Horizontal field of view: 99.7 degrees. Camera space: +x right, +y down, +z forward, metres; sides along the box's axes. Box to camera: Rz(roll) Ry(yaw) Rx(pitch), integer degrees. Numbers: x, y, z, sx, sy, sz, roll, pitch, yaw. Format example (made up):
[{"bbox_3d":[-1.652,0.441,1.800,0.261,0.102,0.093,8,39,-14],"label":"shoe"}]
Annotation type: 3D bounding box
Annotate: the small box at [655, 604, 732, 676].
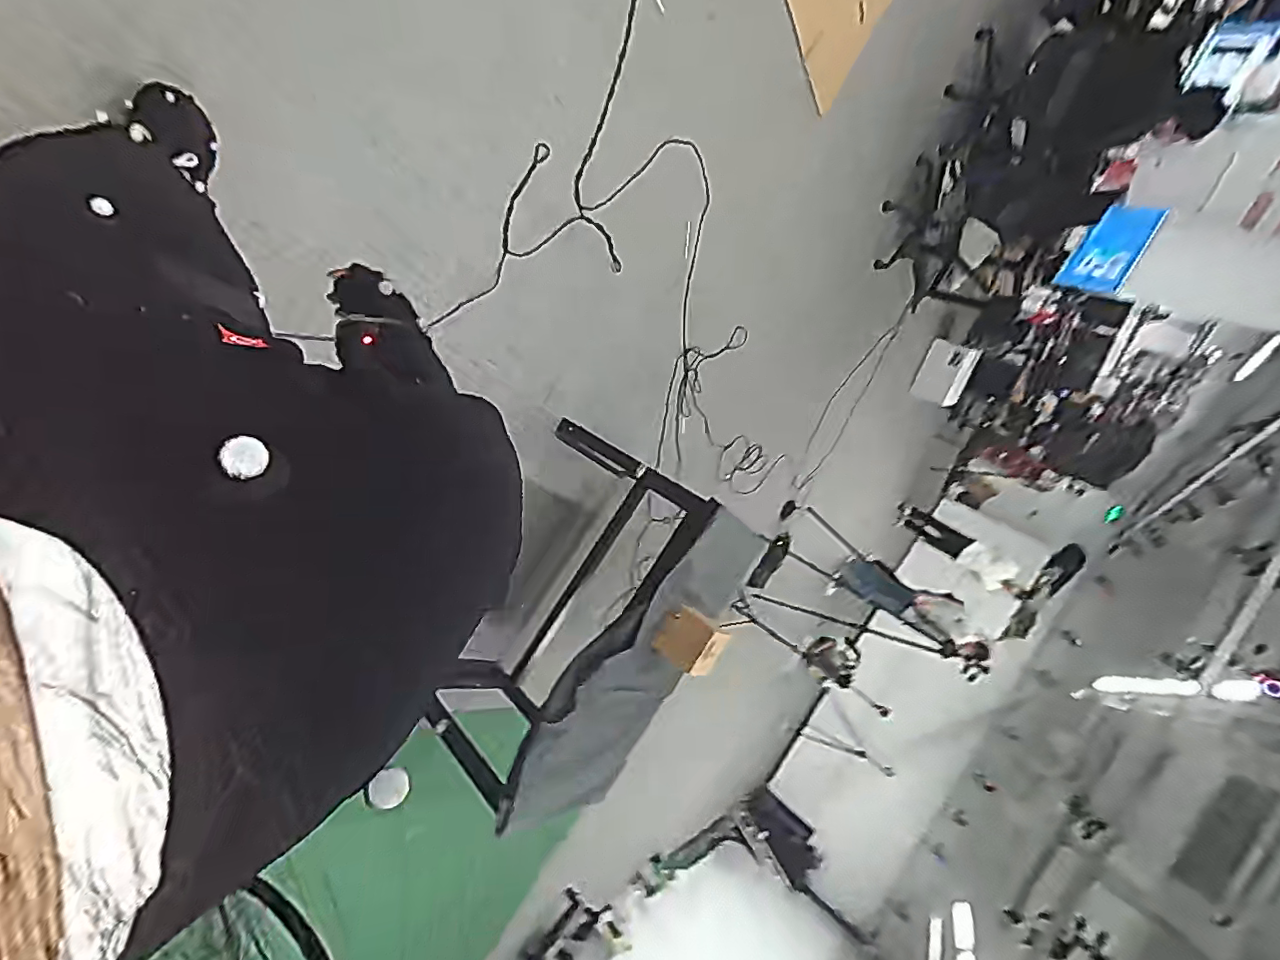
[{"bbox_3d":[0.178,0.539,1.827,0.168,0.176,0.179,-57,147,-2],"label":"small box"}]
